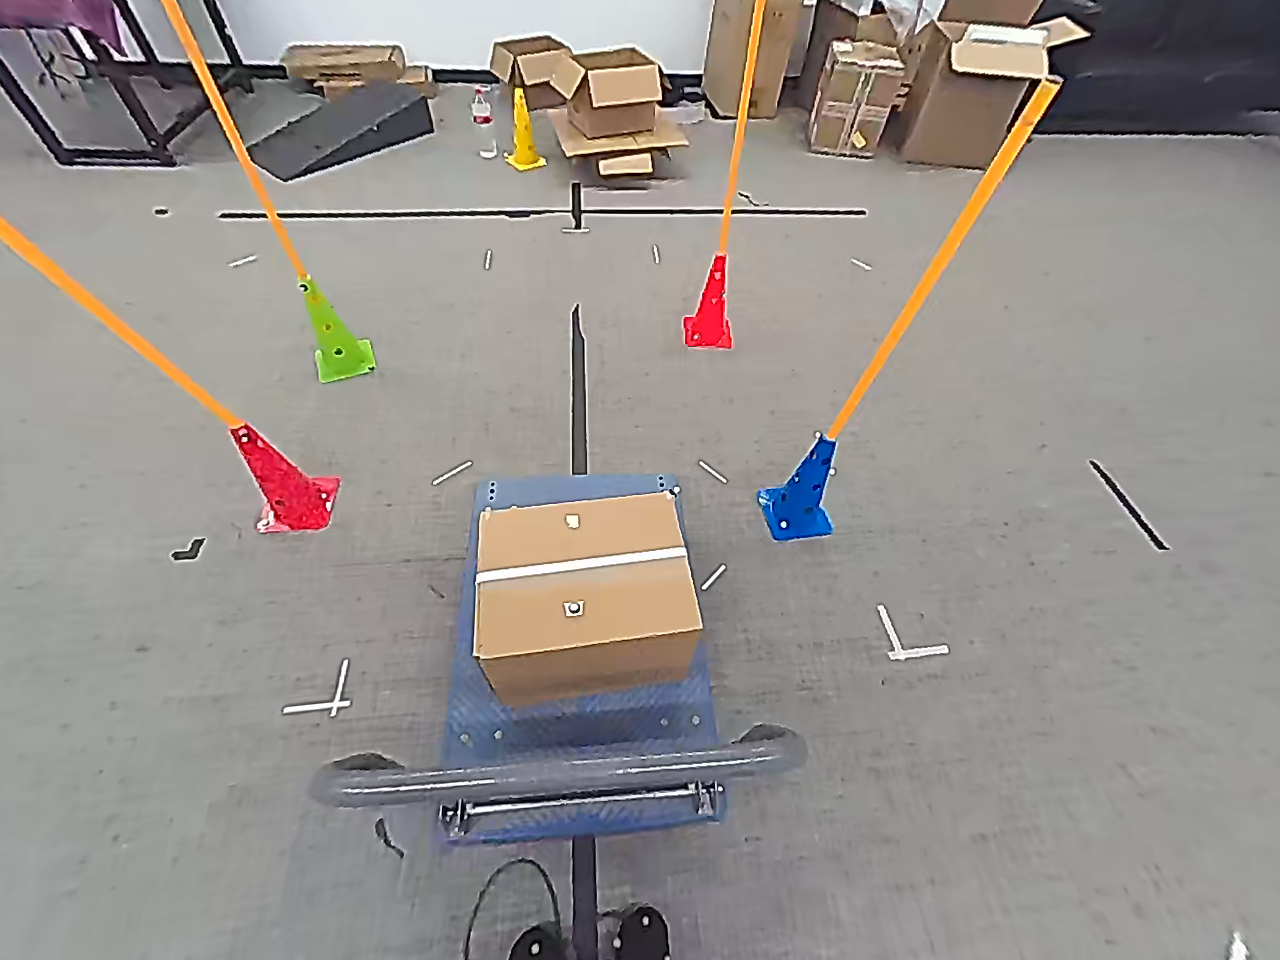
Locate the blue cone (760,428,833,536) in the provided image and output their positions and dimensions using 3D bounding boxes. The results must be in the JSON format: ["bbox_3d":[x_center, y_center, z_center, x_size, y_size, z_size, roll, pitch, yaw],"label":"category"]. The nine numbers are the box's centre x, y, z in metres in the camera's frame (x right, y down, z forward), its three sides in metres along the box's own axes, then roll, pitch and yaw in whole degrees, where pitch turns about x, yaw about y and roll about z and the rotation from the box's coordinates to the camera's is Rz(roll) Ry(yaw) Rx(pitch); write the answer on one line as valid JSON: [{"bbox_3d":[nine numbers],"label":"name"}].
[{"bbox_3d":[0.506,-0.005,1.618,0.193,0.380,0.192,-6,52,-8],"label":"blue cone"}]

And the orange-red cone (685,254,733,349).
[{"bbox_3d":[0.298,-0.723,2.140,0.199,0.360,0.198,3,53,-2],"label":"orange-red cone"}]
